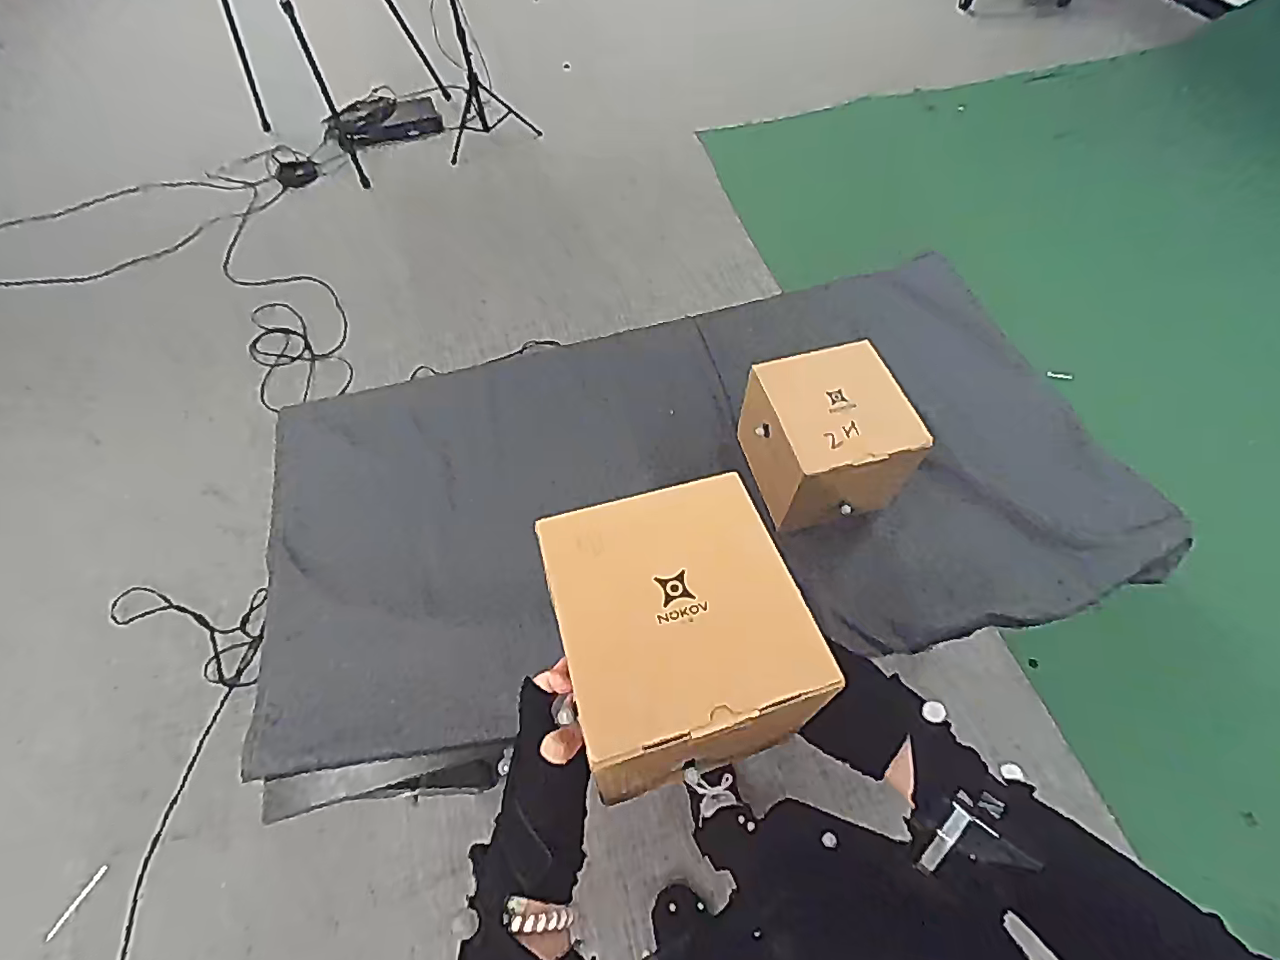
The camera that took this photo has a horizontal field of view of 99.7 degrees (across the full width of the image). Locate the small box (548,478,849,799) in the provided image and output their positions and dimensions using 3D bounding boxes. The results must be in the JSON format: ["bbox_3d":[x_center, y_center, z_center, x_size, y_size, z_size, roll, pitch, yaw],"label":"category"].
[{"bbox_3d":[0.027,0.128,0.435,0.168,0.176,0.179,-13,55,-12],"label":"small box"}]

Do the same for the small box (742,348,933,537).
[{"bbox_3d":[0.250,-0.047,0.739,0.168,0.176,0.179,-13,61,-6],"label":"small box"}]
